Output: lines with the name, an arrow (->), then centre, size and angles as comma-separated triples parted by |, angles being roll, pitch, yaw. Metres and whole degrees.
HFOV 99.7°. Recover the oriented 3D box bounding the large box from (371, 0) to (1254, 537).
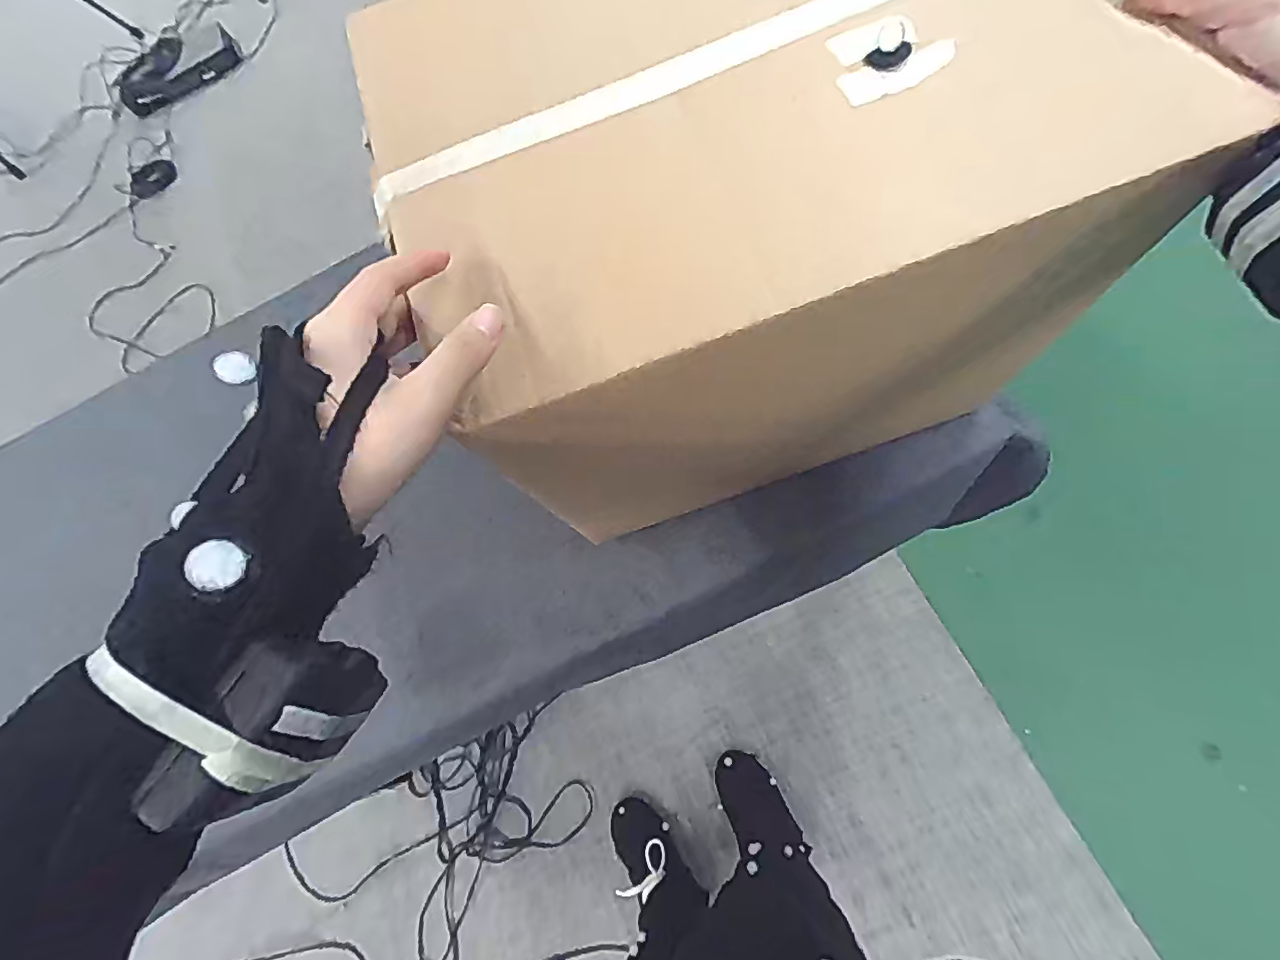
large box -> 0.073, -0.186, 0.443 | 0.408, 0.320, 0.320 | -20, 72, 1
